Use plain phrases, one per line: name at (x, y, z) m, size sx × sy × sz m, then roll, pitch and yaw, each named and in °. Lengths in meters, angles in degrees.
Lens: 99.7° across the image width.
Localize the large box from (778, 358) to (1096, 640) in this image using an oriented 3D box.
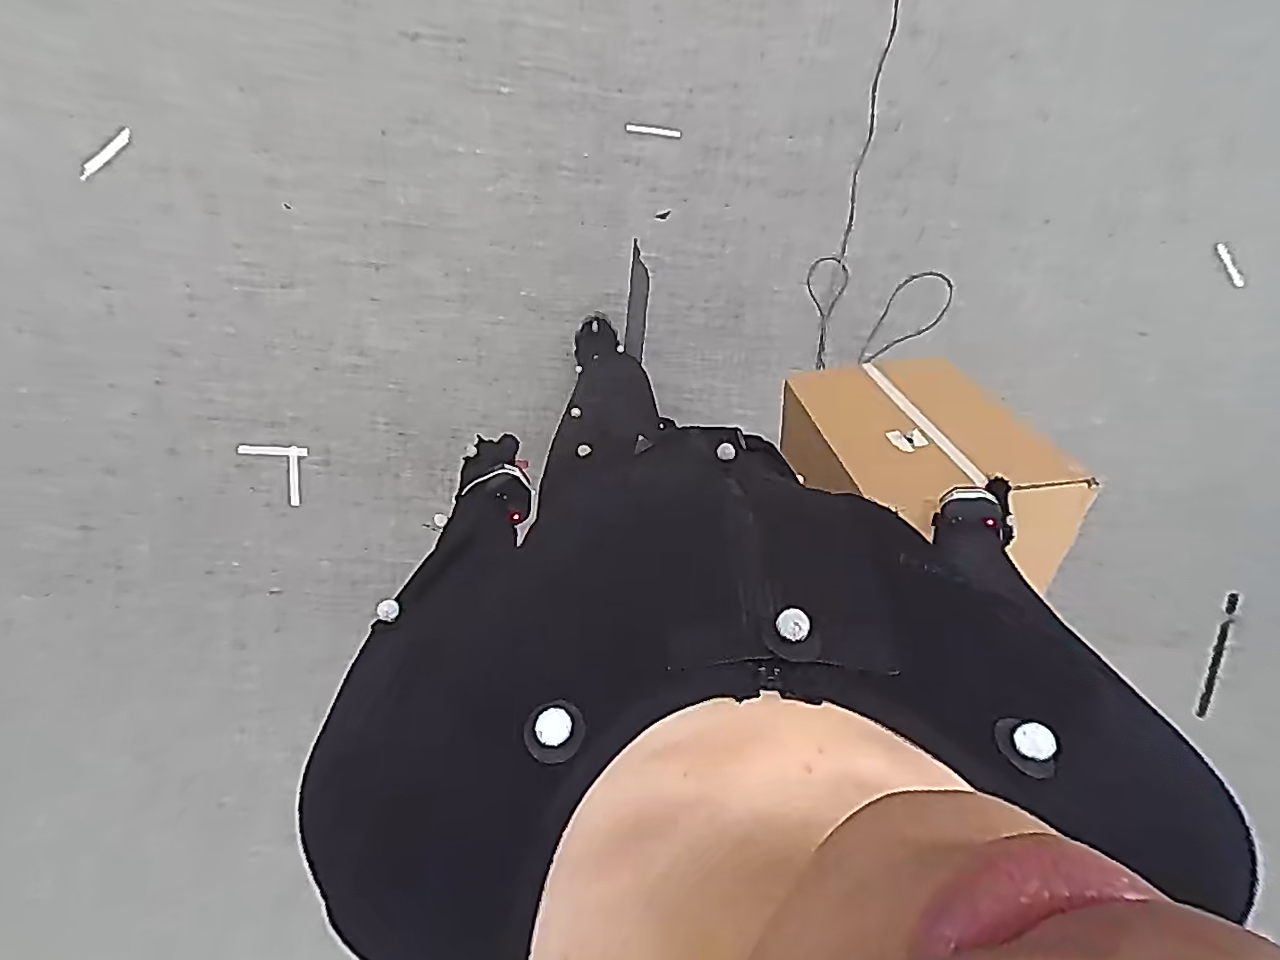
large box at (0.467, 0.019, 0.982) m, size 0.320 × 0.408 × 0.320 m, roll -8°, pitch 129°, yaw 0°
